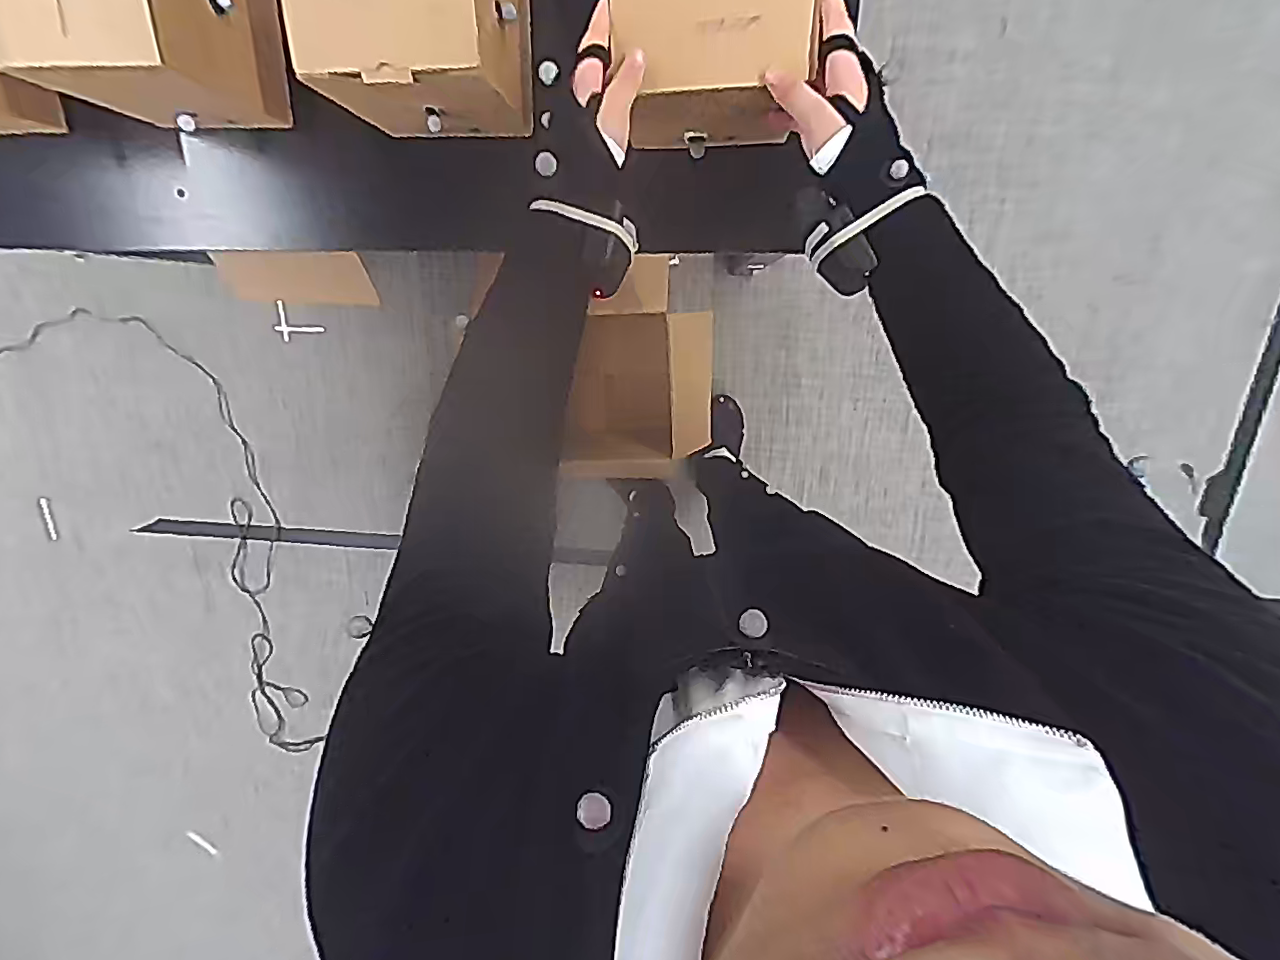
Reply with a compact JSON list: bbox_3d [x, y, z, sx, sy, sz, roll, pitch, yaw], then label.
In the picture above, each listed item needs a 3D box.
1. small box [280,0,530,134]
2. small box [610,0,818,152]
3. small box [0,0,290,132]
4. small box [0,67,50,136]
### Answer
[{"bbox_3d":[-0.206,-0.444,0.507,0.168,0.176,0.179,3,107,5],"label":"small box"},{"bbox_3d":[0.063,-0.424,0.492,0.168,0.176,0.179,0,107,6],"label":"small box"},{"bbox_3d":[-0.481,-0.464,0.523,0.168,0.176,0.179,3,108,4],"label":"small box"},{"bbox_3d":[-0.766,-0.465,0.543,0.179,0.176,0.168,1,107,4],"label":"small box"}]
